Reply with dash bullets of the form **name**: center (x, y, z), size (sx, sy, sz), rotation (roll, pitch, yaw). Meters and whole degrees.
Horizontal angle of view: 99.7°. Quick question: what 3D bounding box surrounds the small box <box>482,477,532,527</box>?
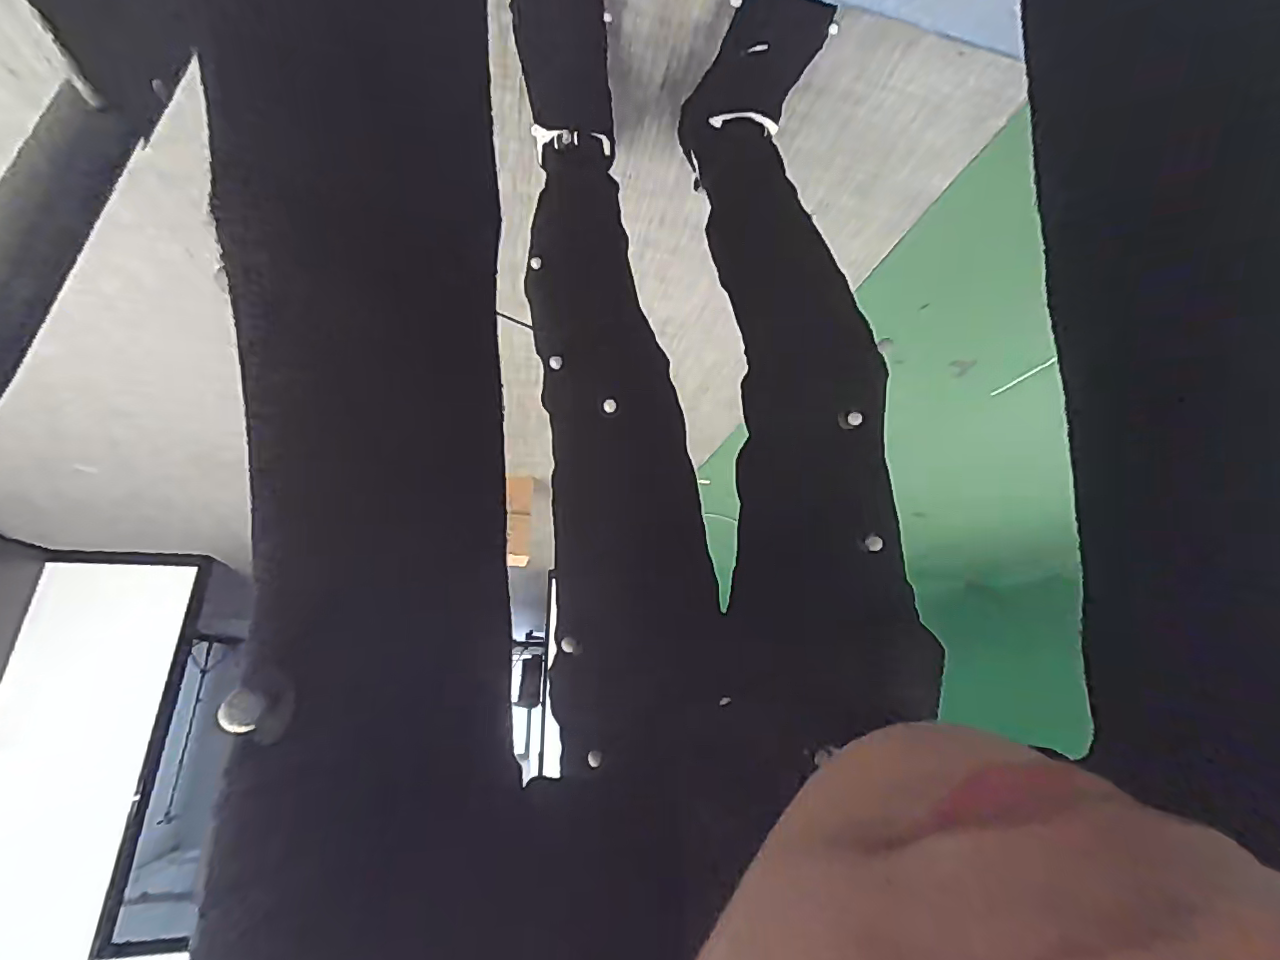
- **small box**: center (-0.535, 0.094, 2.183), size (0.179, 0.176, 0.168), rotation (7, 157, -18)

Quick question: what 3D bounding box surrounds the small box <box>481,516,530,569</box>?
- **small box**: center (-0.527, 0.245, 2.121), size (0.168, 0.176, 0.179), rotation (7, 156, -17)
